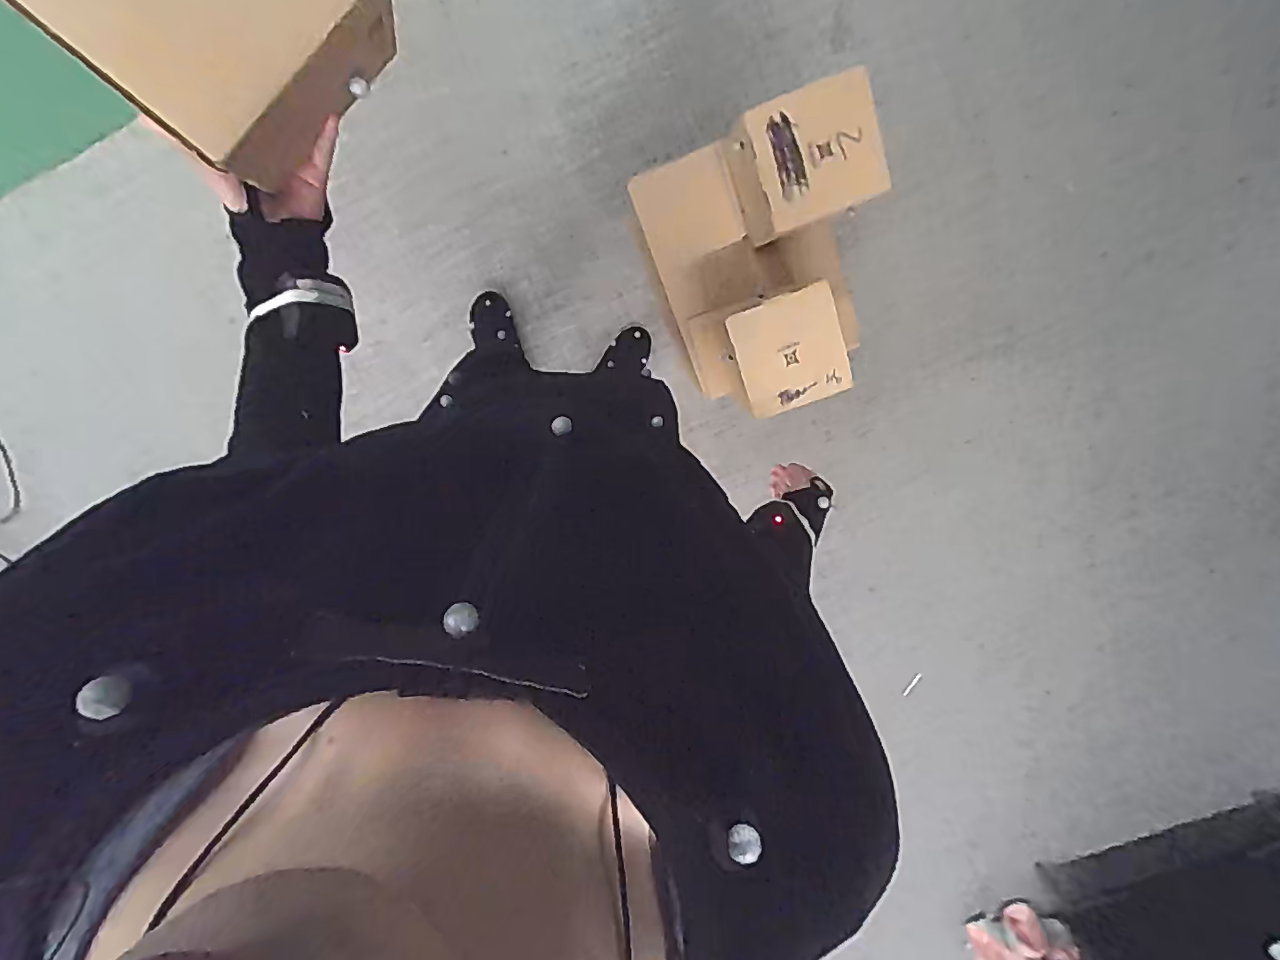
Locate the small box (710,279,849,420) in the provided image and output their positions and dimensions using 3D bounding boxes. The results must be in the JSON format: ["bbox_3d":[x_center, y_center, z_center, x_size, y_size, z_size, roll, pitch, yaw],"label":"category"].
[{"bbox_3d":[0.226,-0.221,0.911,0.168,0.176,0.179,-18,107,6],"label":"small box"}]

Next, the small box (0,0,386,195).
[{"bbox_3d":[-0.302,-0.333,0.363,0.179,0.168,0.176,40,92,-30],"label":"small box"}]
